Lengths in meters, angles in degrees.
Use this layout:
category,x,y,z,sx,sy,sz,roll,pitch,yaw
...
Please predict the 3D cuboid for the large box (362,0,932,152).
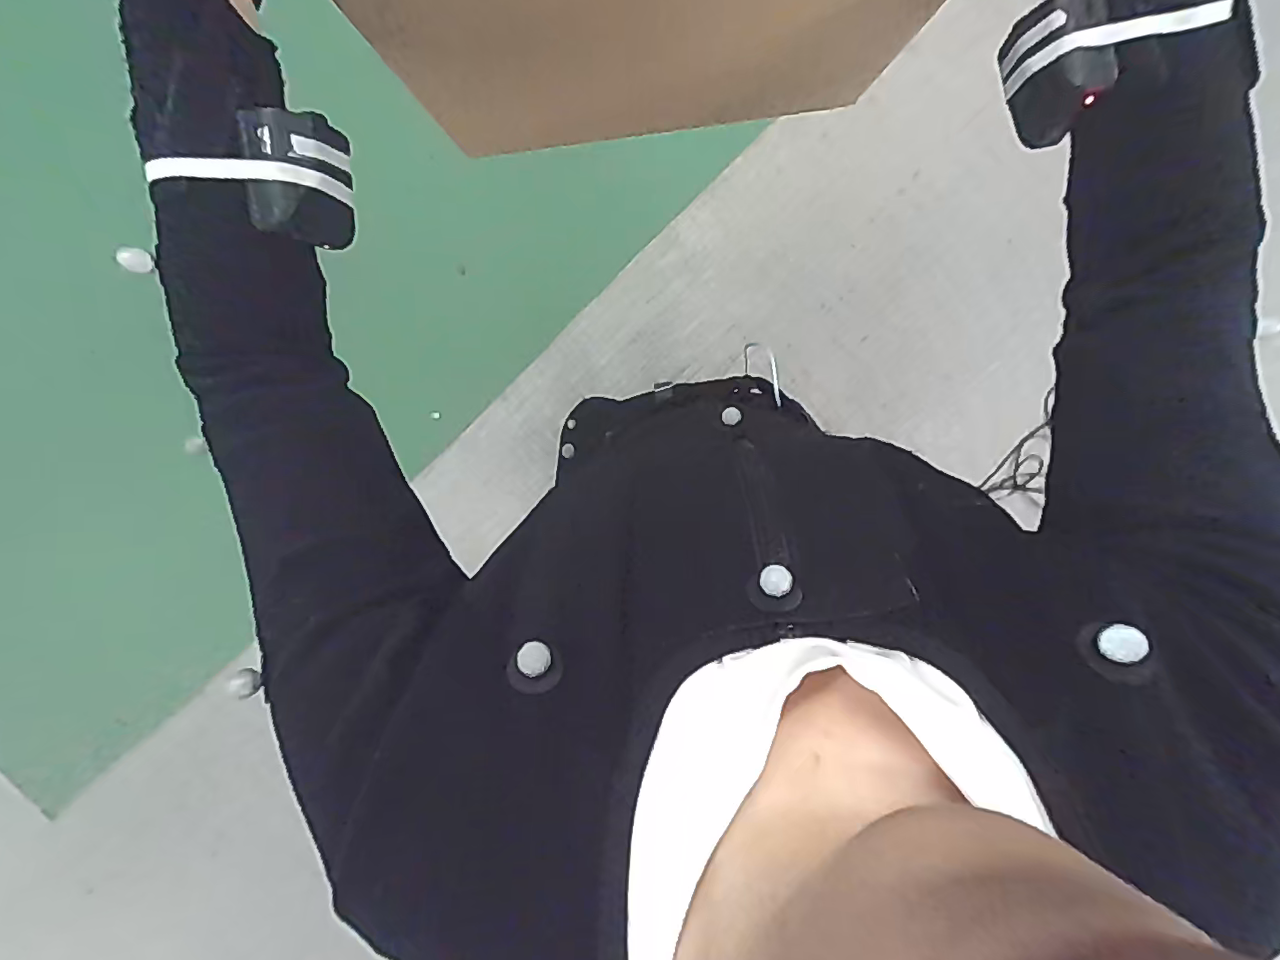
category,x,y,z,sx,sy,sz,roll,pitch,yaw
large box,0.005,-0.475,0.376,0.408,0.320,0.320,-7,104,1
